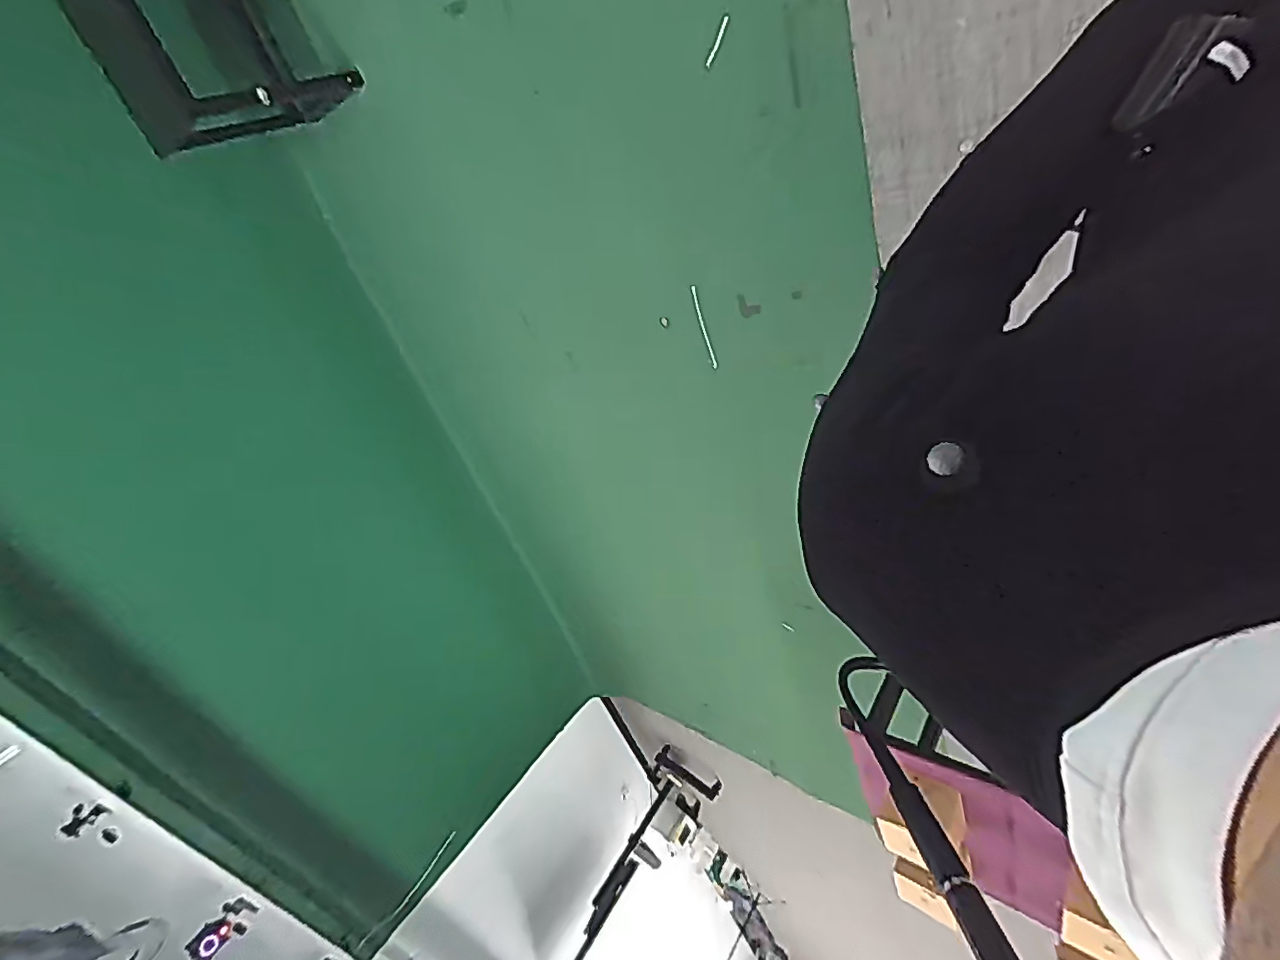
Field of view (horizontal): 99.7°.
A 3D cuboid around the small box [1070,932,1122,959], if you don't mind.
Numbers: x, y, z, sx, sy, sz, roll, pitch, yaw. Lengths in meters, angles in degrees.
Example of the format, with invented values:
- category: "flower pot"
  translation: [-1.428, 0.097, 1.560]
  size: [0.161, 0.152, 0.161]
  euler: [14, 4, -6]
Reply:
- category: "small box"
  translation: [1.192, 1.198, 1.350]
  size: [0.168, 0.176, 0.179]
  euler: [5, 128, 45]

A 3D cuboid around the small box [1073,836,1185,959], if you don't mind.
- category: "small box"
  translation: [1.088, 0.949, 1.205]
  size: [0.168, 0.176, 0.179]
  euler: [8, 131, 44]

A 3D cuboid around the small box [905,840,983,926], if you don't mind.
- category: "small box"
  translation: [0.917, 1.169, 1.624]
  size: [0.168, 0.176, 0.179]
  euler: [7, 130, 43]

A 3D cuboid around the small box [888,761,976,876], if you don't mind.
- category: "small box"
  translation: [0.804, 0.918, 1.481]
  size: [0.168, 0.176, 0.179]
  euler: [4, 127, 44]
